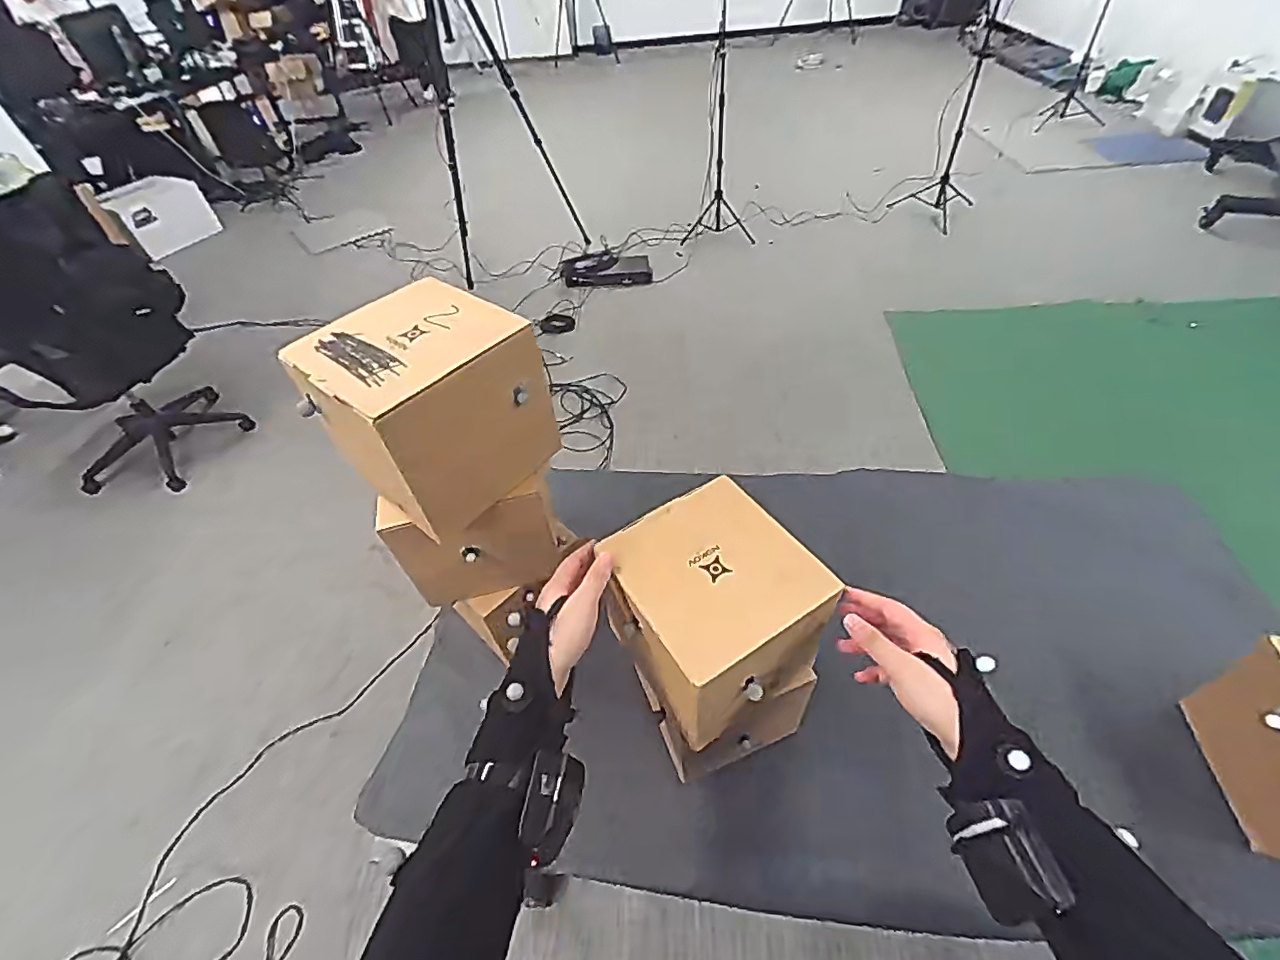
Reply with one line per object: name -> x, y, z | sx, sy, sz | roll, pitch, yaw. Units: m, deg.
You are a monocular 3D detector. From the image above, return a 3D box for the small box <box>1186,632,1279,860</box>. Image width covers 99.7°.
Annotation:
small box -> 0.740, 0.288, 0.561 | 0.168, 0.176, 0.179 | 5, 45, 13

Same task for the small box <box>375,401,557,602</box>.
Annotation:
small box -> -0.209, 0.029, 0.687 | 0.179, 0.176, 0.168 | -14, 49, -6

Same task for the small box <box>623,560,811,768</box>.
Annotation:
small box -> 0.090, 0.238, 0.686 | 0.168, 0.176, 0.179 | -19, 48, -12

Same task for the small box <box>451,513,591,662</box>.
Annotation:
small box -> -0.195, 0.137, 0.811 | 0.179, 0.176, 0.168 | 33, 59, 30
